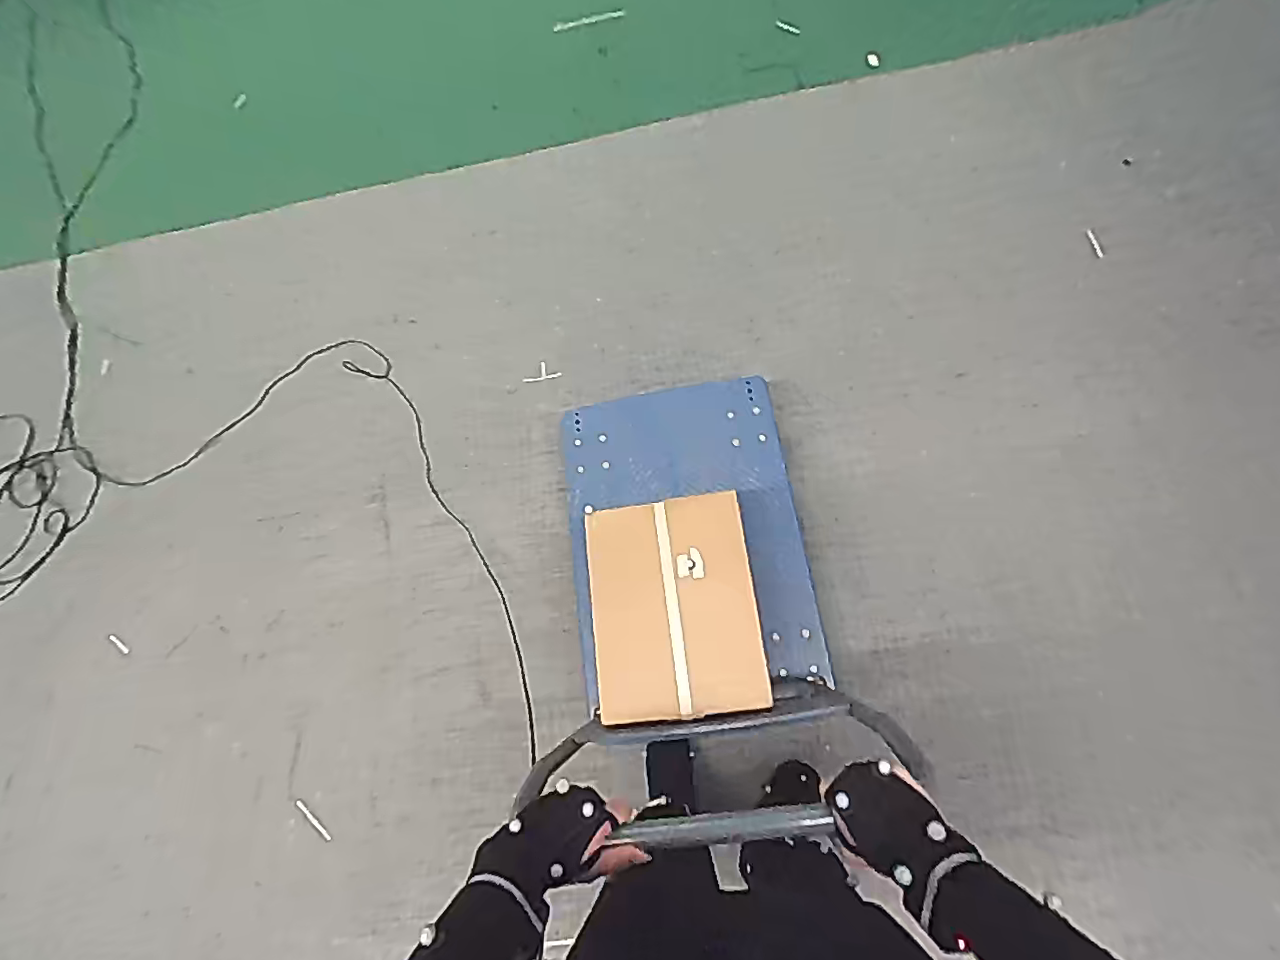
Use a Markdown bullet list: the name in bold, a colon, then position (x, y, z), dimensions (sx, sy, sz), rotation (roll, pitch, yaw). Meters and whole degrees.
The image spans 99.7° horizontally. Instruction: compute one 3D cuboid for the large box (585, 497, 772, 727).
- **large box**: position (0.083, 0.291, 1.174), dimensions (0.320, 0.320, 0.408), rotation (-9, 70, 5)
